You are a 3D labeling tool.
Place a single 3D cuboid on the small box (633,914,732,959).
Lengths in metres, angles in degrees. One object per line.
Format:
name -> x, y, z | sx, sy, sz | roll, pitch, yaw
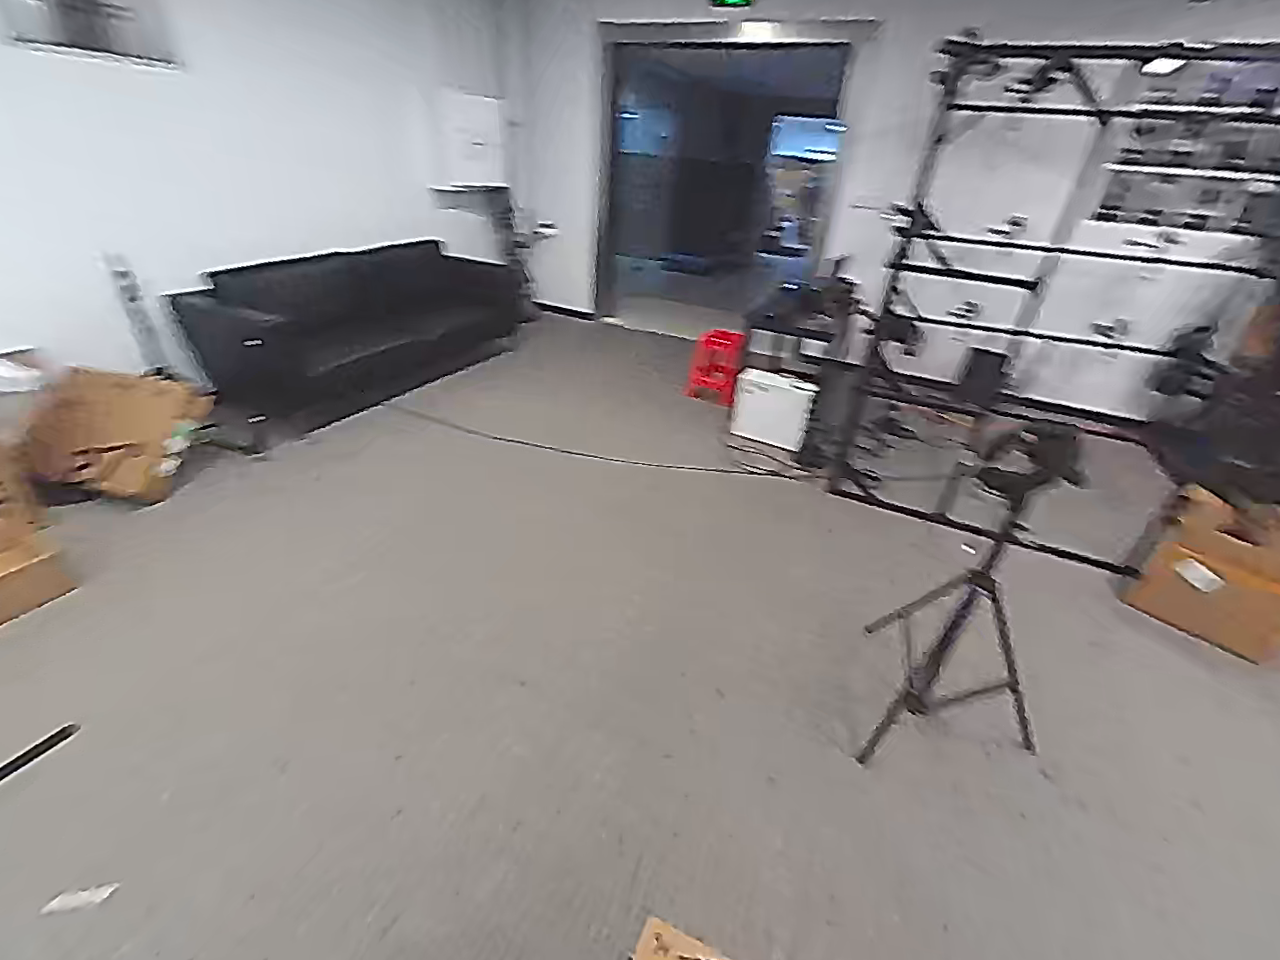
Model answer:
small box -> 0.050, 0.731, 0.702 | 0.168, 0.176, 0.179 | 15, 36, 20
